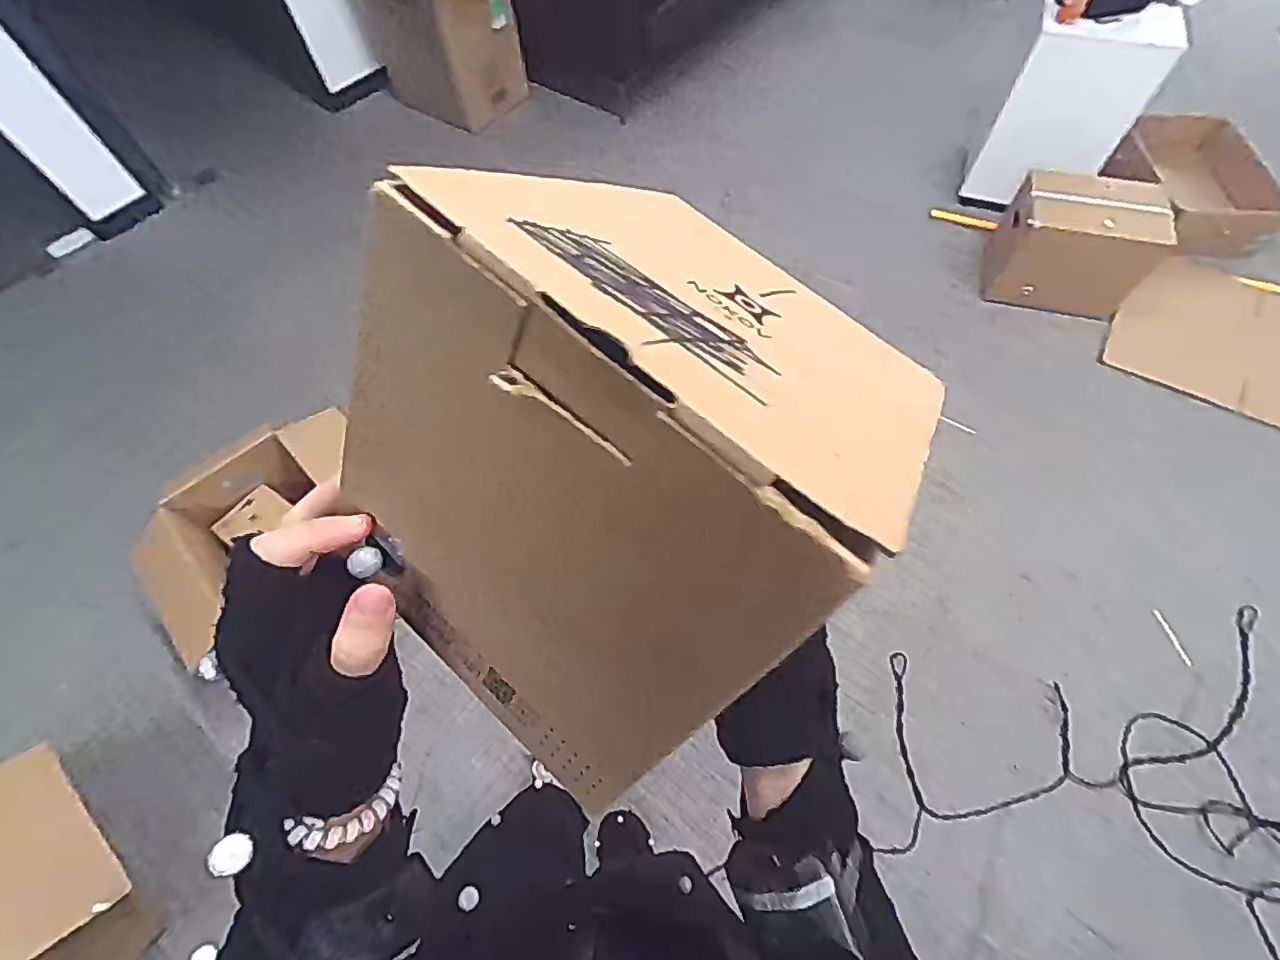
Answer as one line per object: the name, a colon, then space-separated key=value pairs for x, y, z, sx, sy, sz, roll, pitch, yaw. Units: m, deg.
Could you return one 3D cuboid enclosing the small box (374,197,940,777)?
small box: x=0.000 y=-0.005 z=0.253 sx=0.168 sy=0.176 sz=0.179 roll=41 pitch=39 yaw=13
